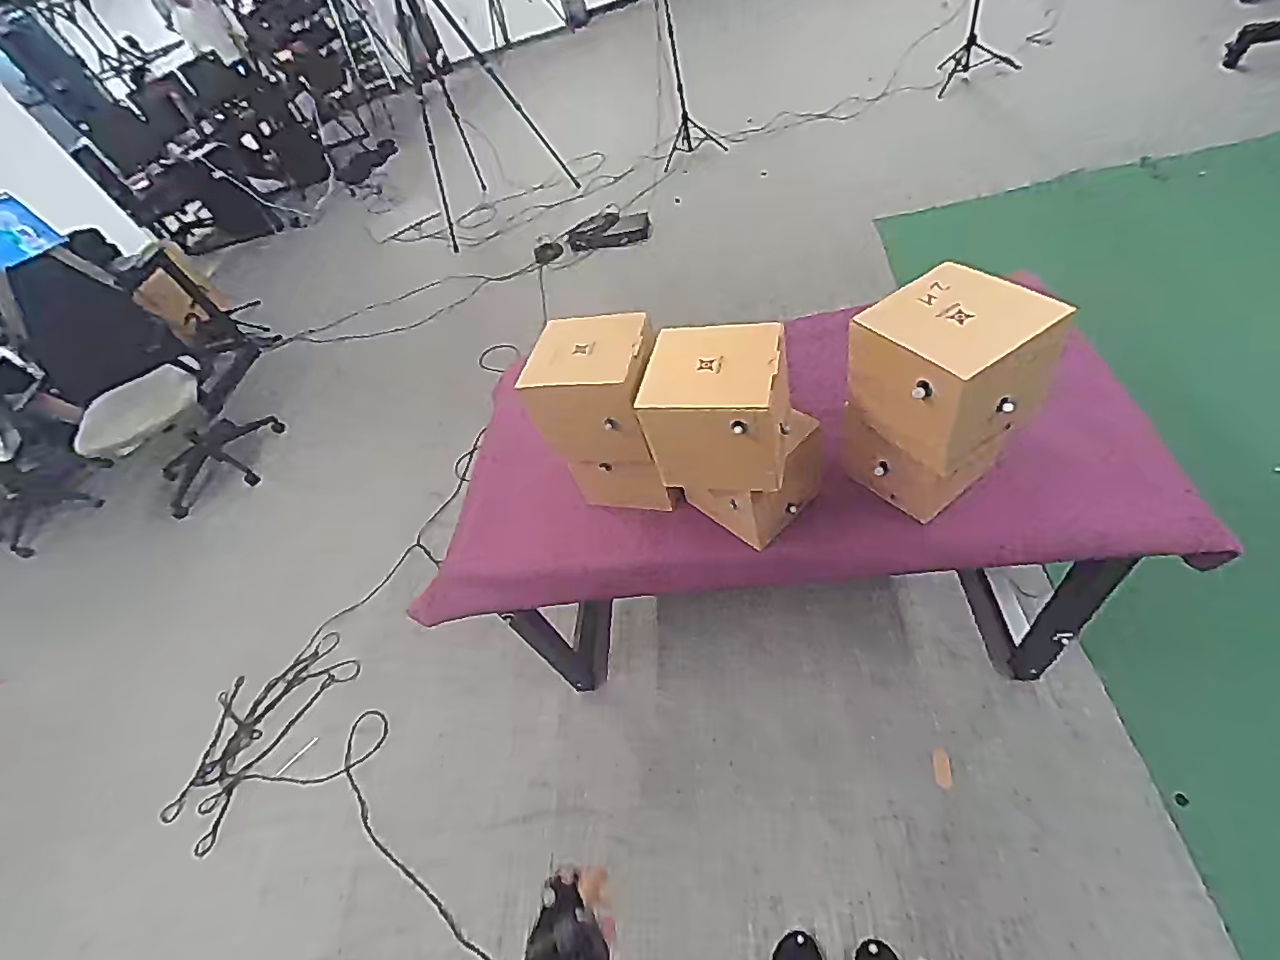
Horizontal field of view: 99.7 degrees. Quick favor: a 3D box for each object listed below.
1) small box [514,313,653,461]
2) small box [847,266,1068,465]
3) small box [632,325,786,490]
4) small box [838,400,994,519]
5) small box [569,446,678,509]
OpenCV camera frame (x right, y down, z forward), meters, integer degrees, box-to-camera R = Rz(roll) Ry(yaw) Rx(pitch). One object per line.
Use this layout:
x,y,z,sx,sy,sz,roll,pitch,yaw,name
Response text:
-0.067,-0.144,0.867,0.179,0.176,0.168,1,52,19,small box
0.396,-0.143,0.711,0.168,0.176,0.179,-31,47,-8,small box
0.109,-0.100,0.773,0.179,0.176,0.168,3,53,20,small box
0.439,-0.070,0.858,0.179,0.176,0.168,-37,49,-13,small box
-0.023,-0.061,1.002,0.179,0.176,0.168,4,53,20,small box
